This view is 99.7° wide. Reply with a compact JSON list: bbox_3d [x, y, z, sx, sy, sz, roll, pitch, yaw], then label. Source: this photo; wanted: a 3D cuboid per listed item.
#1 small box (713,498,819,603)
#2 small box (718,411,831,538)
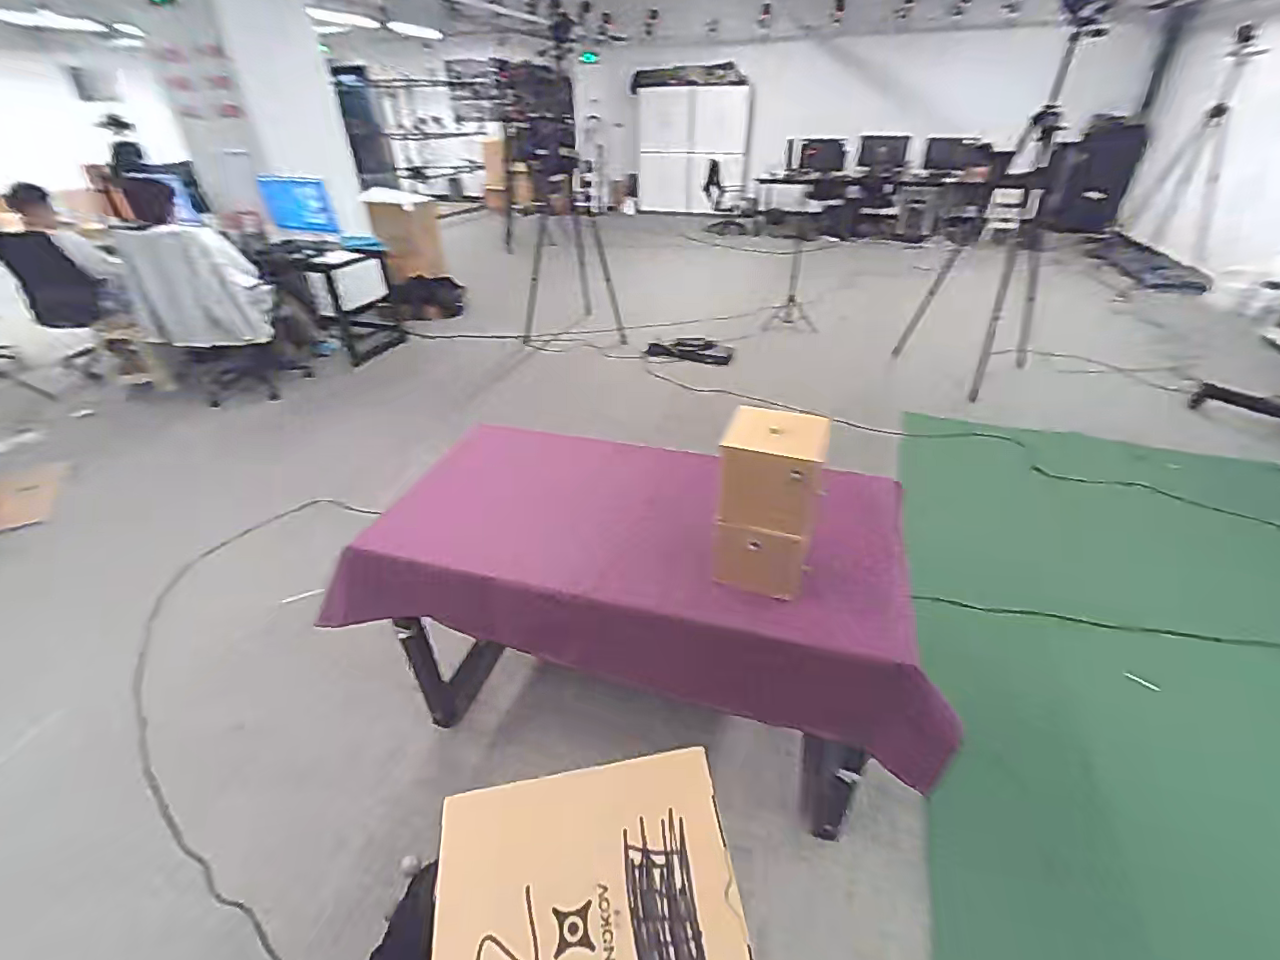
[{"bbox_3d":[0.254,0.127,1.108,0.179,0.176,0.168,12,37,20],"label":"small box"},{"bbox_3d":[0.251,-0.011,1.022,0.179,0.176,0.168,11,36,18],"label":"small box"}]
